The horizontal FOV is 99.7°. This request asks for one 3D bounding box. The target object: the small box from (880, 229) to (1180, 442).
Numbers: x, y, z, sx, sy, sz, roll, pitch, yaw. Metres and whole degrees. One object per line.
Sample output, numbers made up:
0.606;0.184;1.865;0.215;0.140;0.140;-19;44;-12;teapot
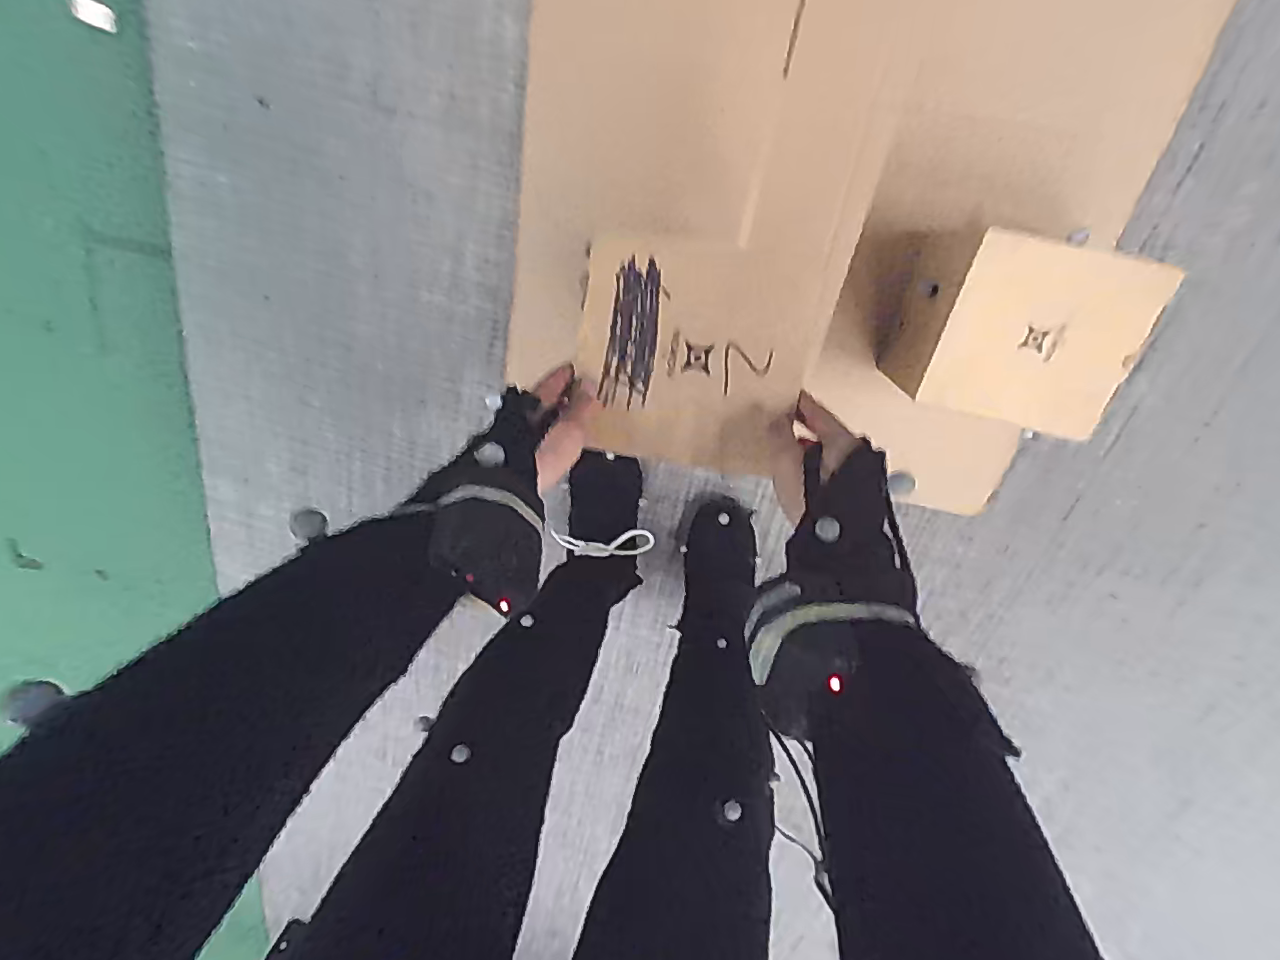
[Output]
0.386;-0.160;0.582;0.179;0.176;0.168;14;114;3;small box
